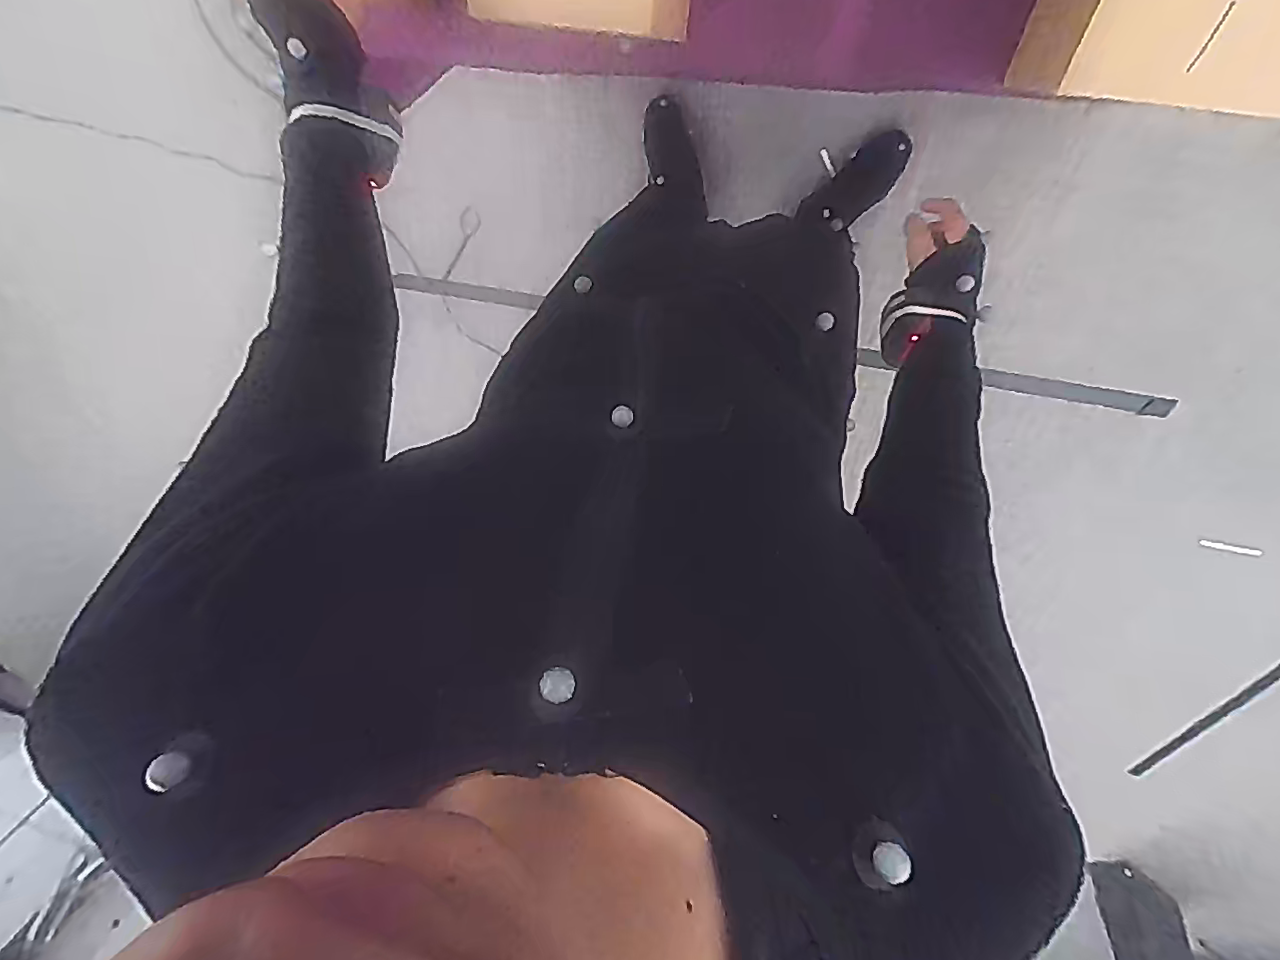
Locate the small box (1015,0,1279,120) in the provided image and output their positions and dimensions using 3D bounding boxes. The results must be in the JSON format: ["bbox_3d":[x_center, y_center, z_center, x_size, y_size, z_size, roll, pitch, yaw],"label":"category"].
[{"bbox_3d":[0.432,-0.399,0.419,0.168,0.176,0.179,13,130,9],"label":"small box"}]
